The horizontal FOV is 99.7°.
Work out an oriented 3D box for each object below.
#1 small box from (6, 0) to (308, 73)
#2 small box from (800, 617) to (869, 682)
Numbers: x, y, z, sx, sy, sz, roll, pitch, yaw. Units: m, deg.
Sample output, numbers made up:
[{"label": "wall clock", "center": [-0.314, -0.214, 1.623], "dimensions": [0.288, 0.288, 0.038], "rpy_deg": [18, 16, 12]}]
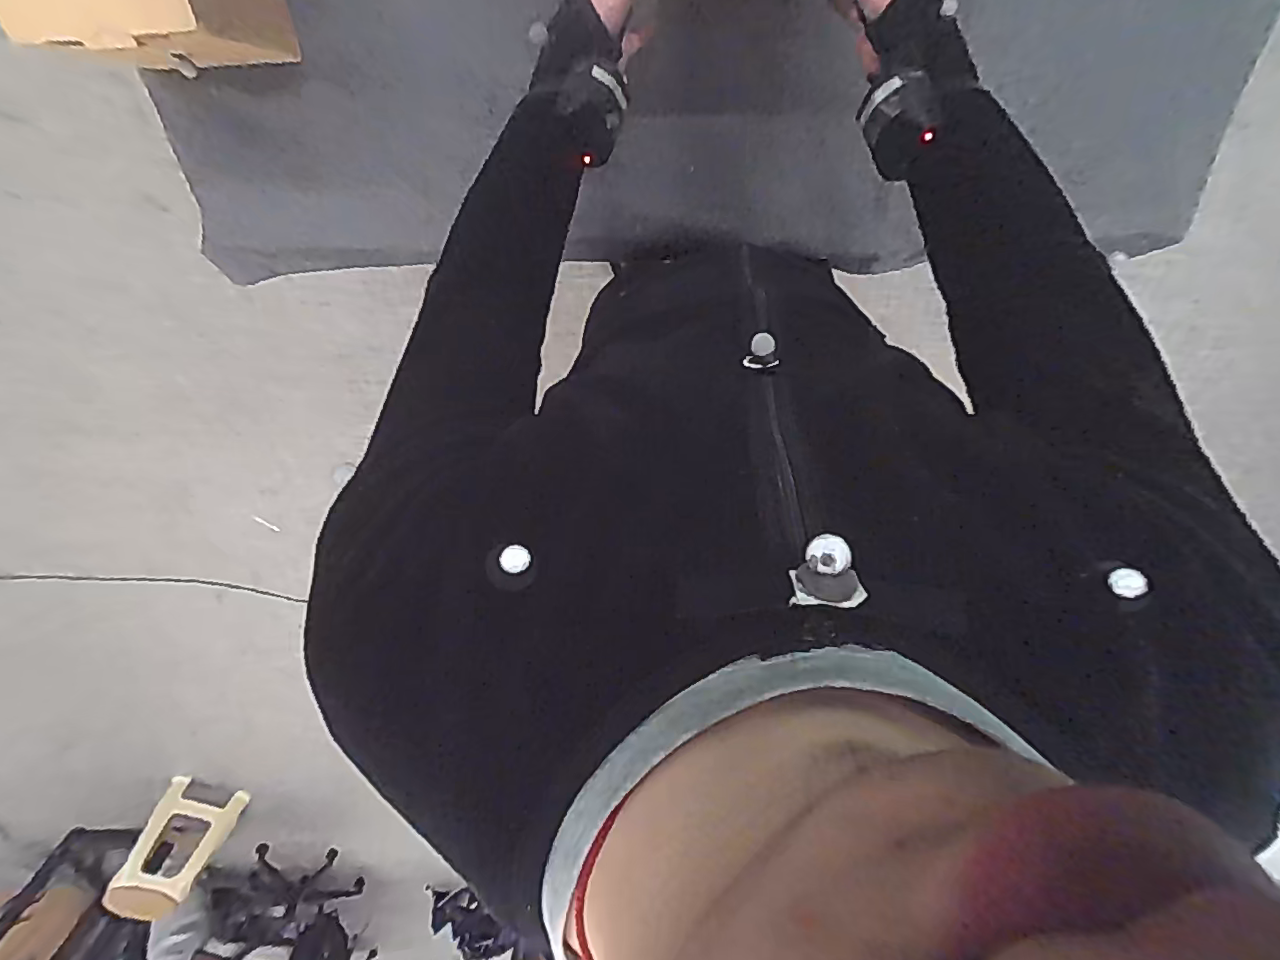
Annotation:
[{"label": "small box", "center": [-0.441, -0.480, 0.486], "dimensions": [0.168, 0.176, 0.179], "rpy_deg": [-3, 123, 0]}, {"label": "small box", "center": [0.746, 0.652, 2.092], "dimensions": [0.179, 0.176, 0.168], "rpy_deg": [10, 120, -6]}]
